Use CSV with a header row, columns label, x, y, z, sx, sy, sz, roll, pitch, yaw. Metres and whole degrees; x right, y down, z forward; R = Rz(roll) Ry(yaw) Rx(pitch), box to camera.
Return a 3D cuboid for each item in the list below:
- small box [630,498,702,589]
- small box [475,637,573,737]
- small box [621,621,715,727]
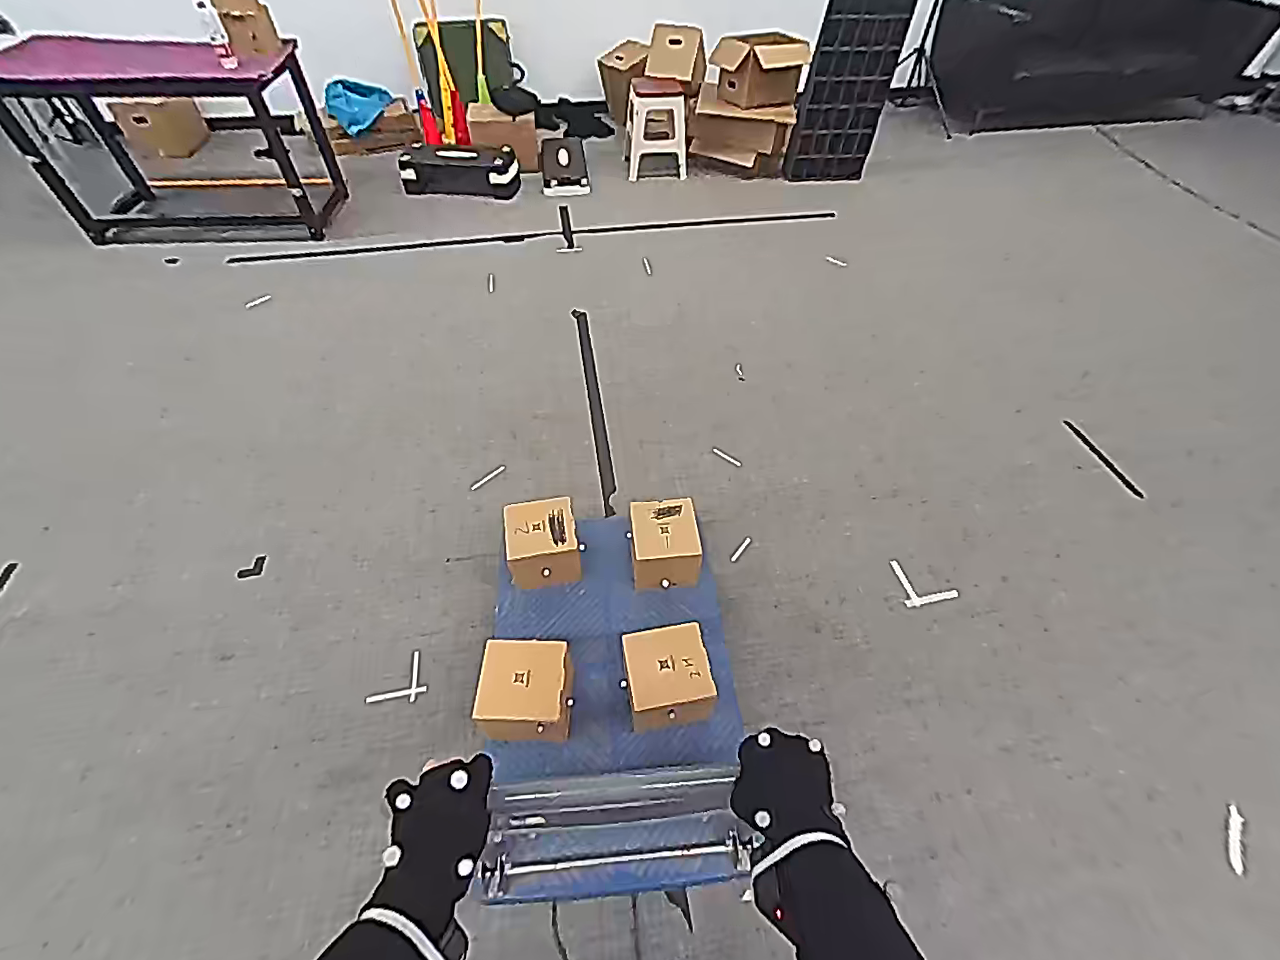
label,x,y,z,sx,sy,sz,roll,pitch,yaw
small box,0.063,0.169,1.436,0.168,0.176,0.179,-4,52,-4
small box,-0.247,0.460,1.197,0.179,0.176,0.168,2,51,-1
small box,0.058,0.440,1.216,0.179,0.176,0.168,-7,52,-7
